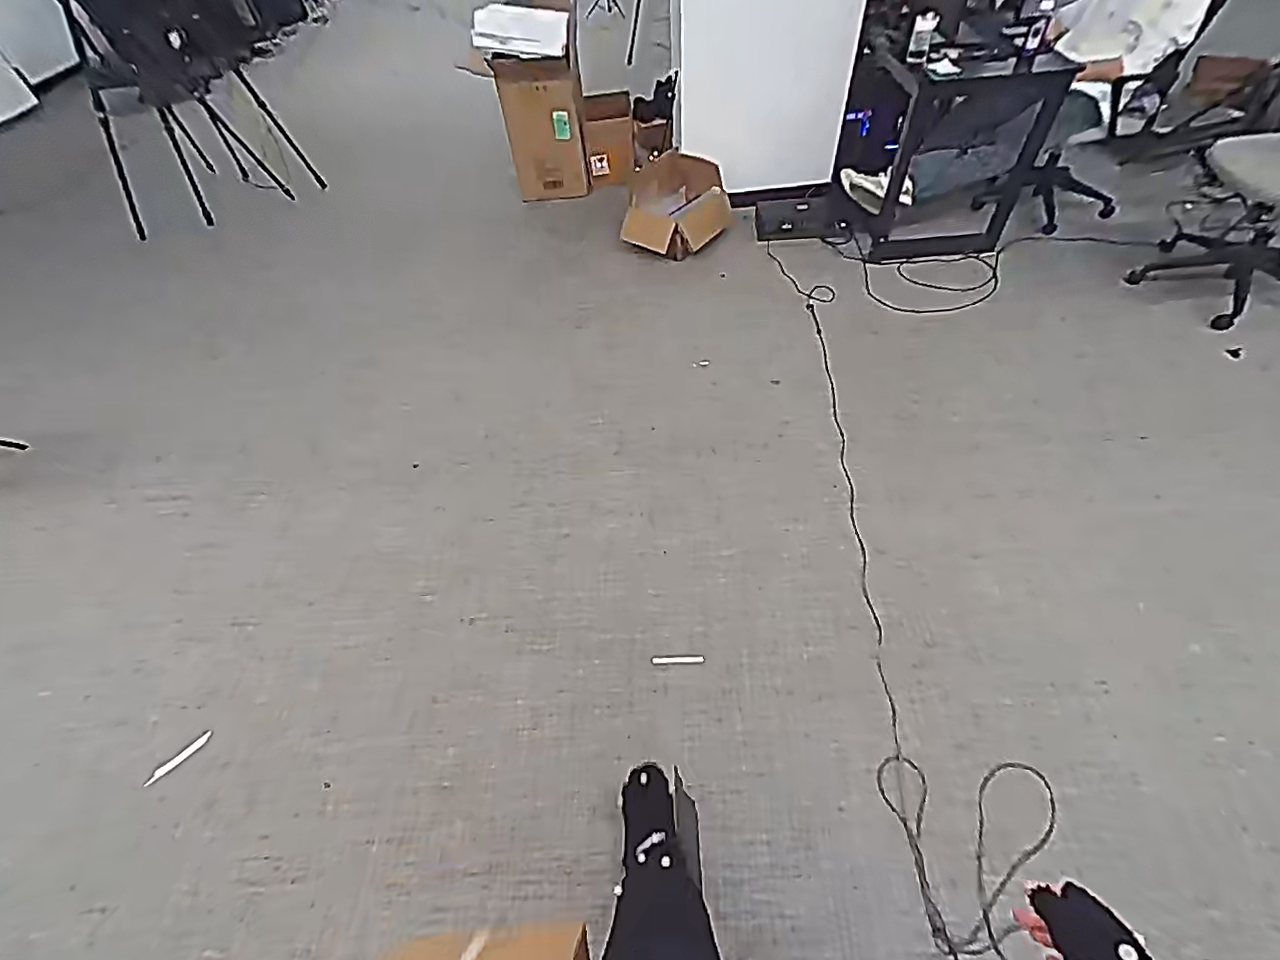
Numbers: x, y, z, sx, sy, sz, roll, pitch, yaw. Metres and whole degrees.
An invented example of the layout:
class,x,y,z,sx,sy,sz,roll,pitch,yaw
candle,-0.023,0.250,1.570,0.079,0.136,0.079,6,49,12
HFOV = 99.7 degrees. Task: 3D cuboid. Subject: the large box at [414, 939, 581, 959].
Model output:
class,x,y,z,sx,sy,sz,roll,pitch,yaw
large box,-0.233,0.833,0.614,0.320,0.408,0.320,-12,76,4
